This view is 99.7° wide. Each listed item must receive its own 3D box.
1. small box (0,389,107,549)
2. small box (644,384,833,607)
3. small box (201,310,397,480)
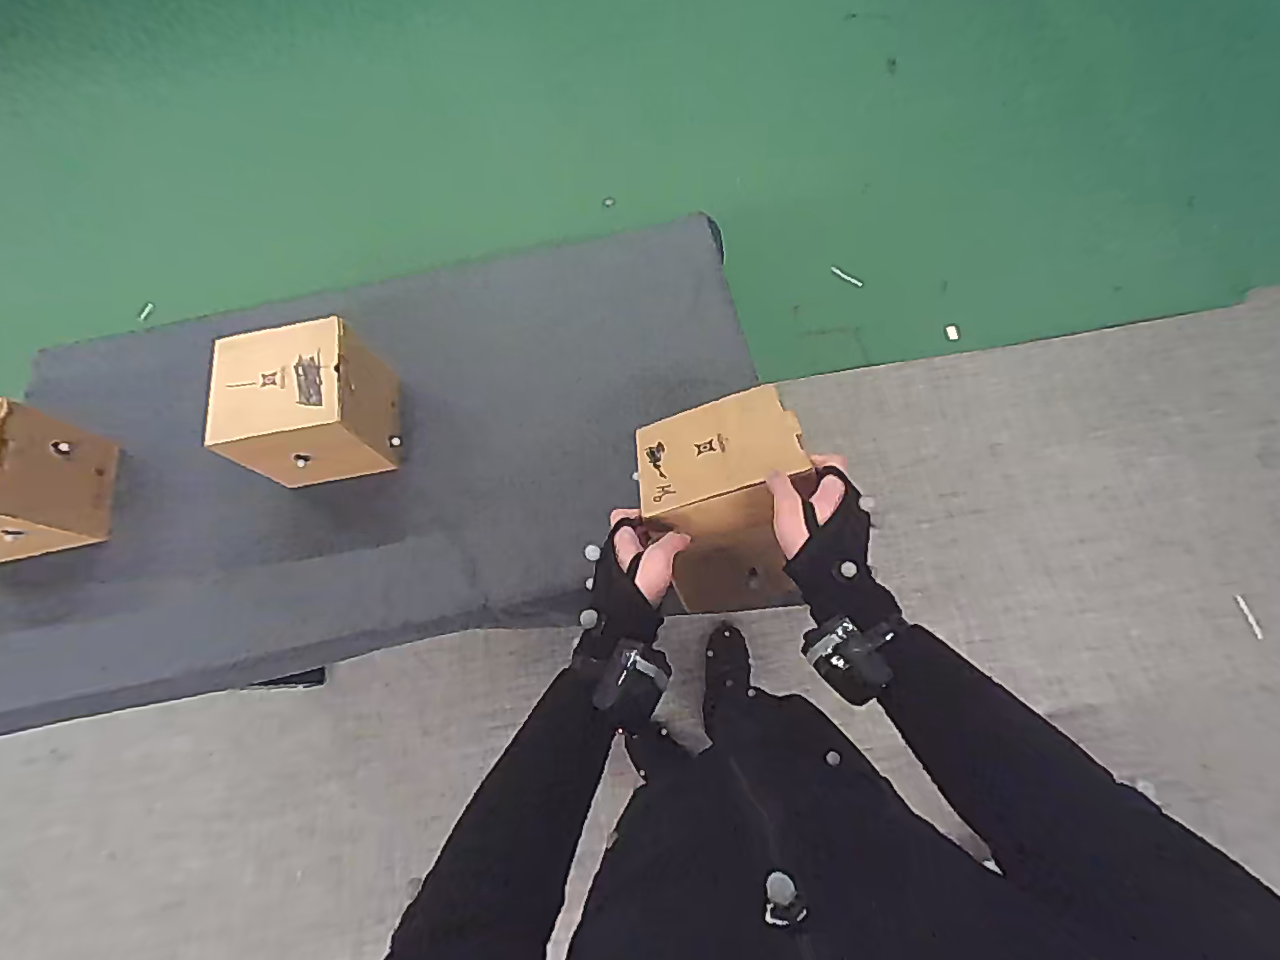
[{"bbox_3d":[-0.905,-0.009,0.746,0.179,0.176,0.168,-12,68,-2],"label":"small box"},{"bbox_3d":[0.113,0.020,0.623,0.179,0.176,0.168,-16,36,9],"label":"small box"},{"bbox_3d":[-0.465,-0.113,0.770,0.179,0.176,0.168,-9,69,-1],"label":"small box"}]
